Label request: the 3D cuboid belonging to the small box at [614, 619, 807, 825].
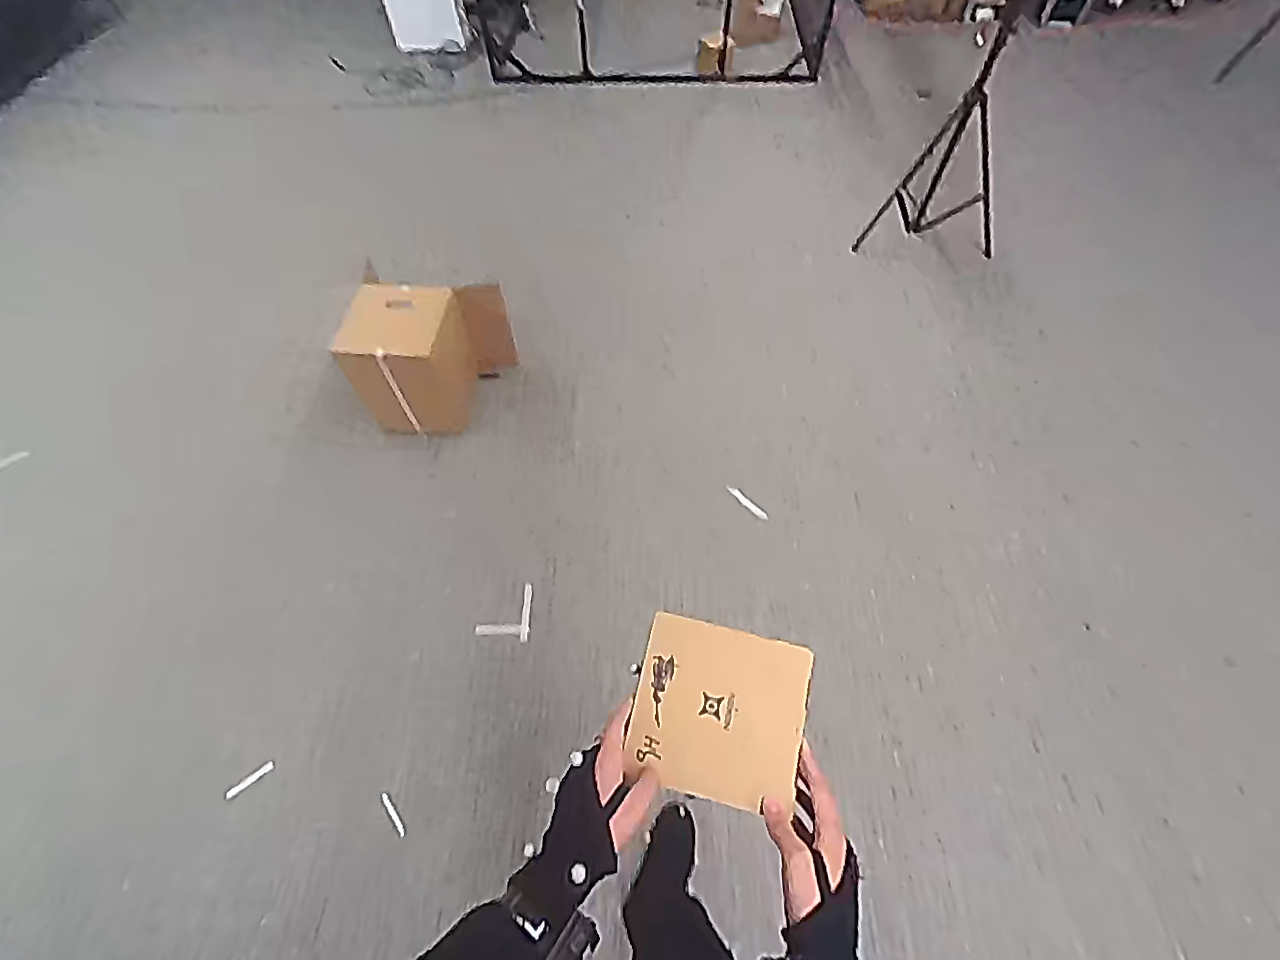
[{"bbox_3d":[0.076,0.274,0.637,0.179,0.176,0.168,13,69,5],"label":"small box"}]
